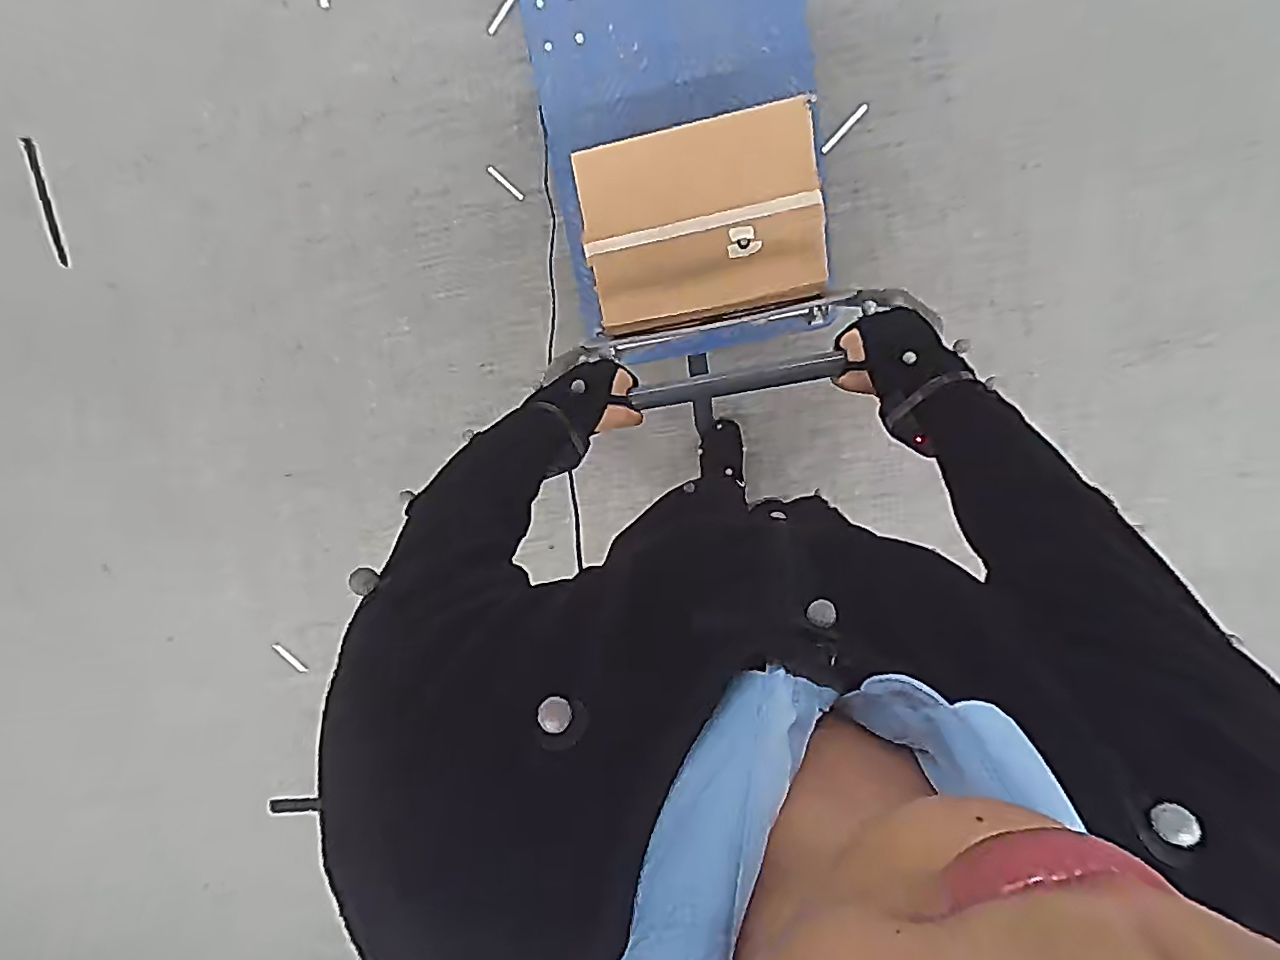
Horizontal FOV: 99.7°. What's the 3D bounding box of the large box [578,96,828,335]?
[{"bbox_3d":[0.125,-0.491,1.095,0.408,0.320,0.320,-10,104,7],"label":"large box"}]
